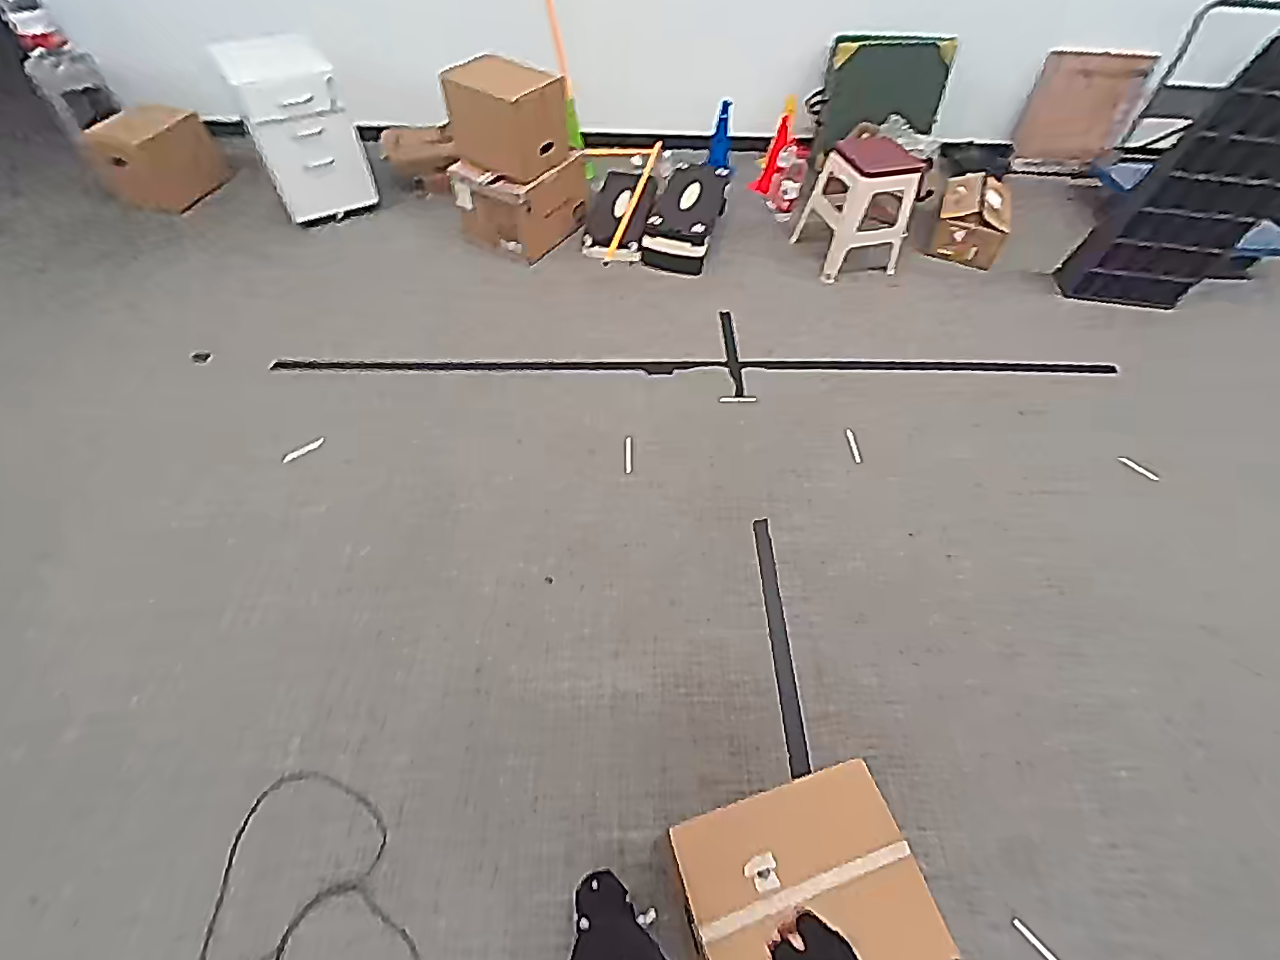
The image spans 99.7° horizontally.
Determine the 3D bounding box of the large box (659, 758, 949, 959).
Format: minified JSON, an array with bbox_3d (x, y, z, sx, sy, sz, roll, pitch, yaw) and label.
[{"bbox_3d":[0.280,0.793,1.058,0.408,0.320,0.320,-14,55,-12],"label":"large box"}]
